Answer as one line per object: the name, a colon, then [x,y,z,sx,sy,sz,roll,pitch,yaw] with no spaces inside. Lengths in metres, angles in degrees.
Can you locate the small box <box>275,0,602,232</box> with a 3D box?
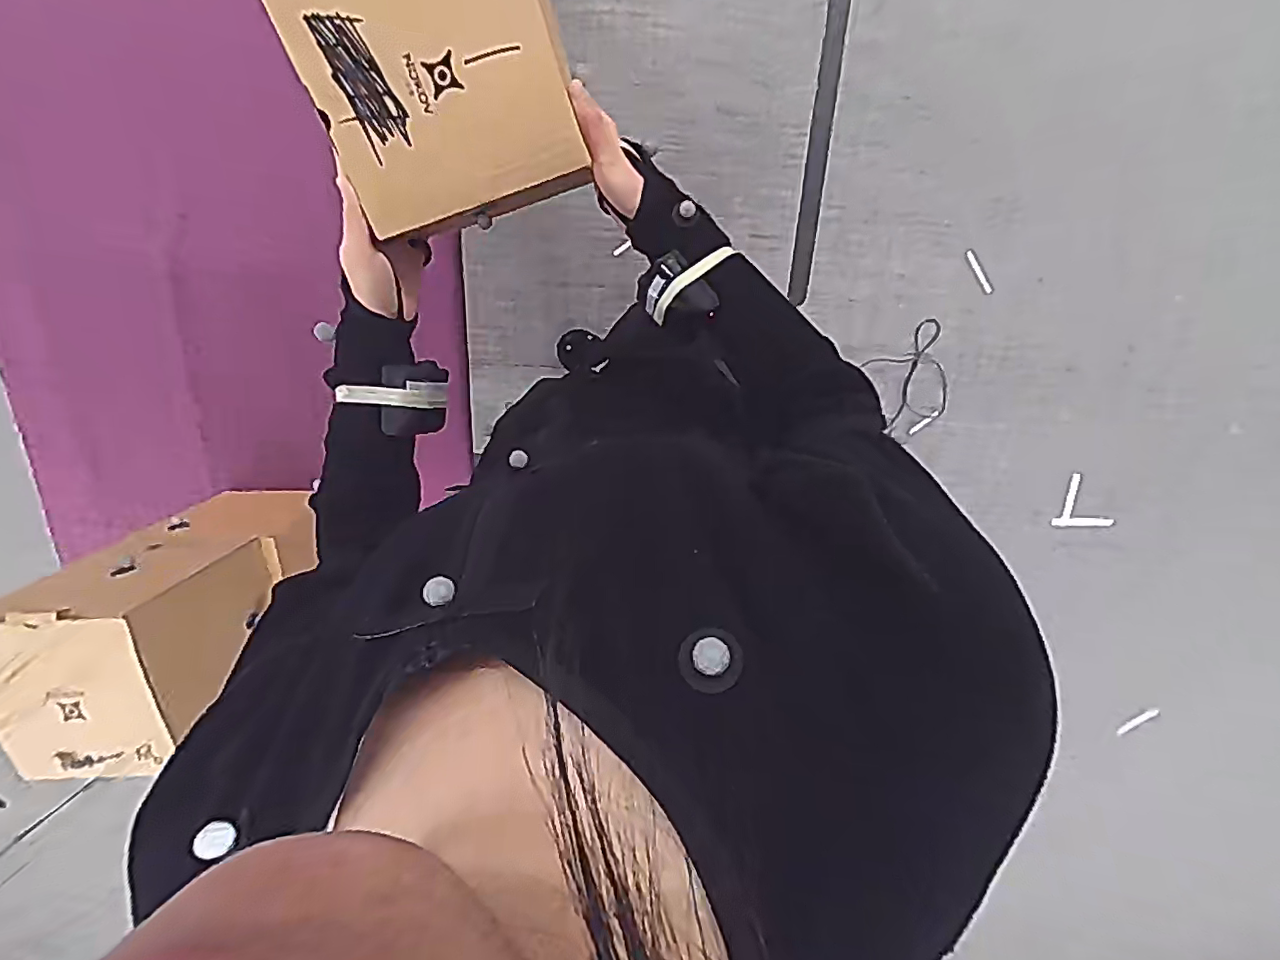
small box: [-0.139,-0.315,0.446,0.179,0.176,0.168,-15,116,6]

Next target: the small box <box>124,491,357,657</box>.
small box: [-0.504,0.117,0.719,0.179,0.176,0.168,-1,108,1]

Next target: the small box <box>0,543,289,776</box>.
small box: [-0.512,0.173,0.565,0.168,0.176,0.179,-2,107,2]
